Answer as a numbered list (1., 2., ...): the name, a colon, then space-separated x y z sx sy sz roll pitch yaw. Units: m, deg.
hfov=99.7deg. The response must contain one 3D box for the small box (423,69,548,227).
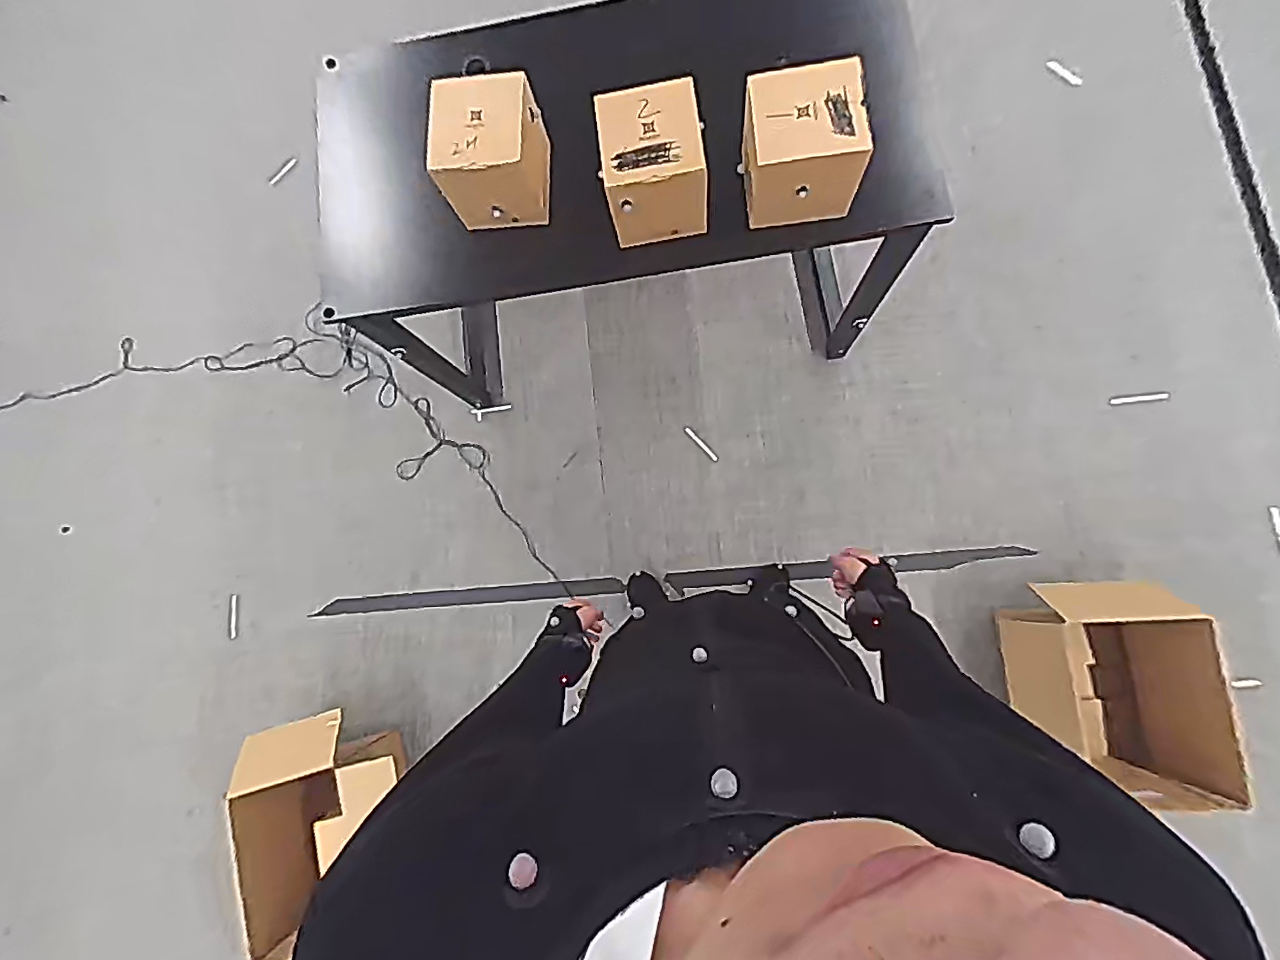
1. small box: -0.270 -0.592 0.981 0.168 0.176 0.179 -1 82 7

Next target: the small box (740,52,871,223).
1. small box: 0.268 -0.566 0.914 0.179 0.176 0.168 -5 81 7
